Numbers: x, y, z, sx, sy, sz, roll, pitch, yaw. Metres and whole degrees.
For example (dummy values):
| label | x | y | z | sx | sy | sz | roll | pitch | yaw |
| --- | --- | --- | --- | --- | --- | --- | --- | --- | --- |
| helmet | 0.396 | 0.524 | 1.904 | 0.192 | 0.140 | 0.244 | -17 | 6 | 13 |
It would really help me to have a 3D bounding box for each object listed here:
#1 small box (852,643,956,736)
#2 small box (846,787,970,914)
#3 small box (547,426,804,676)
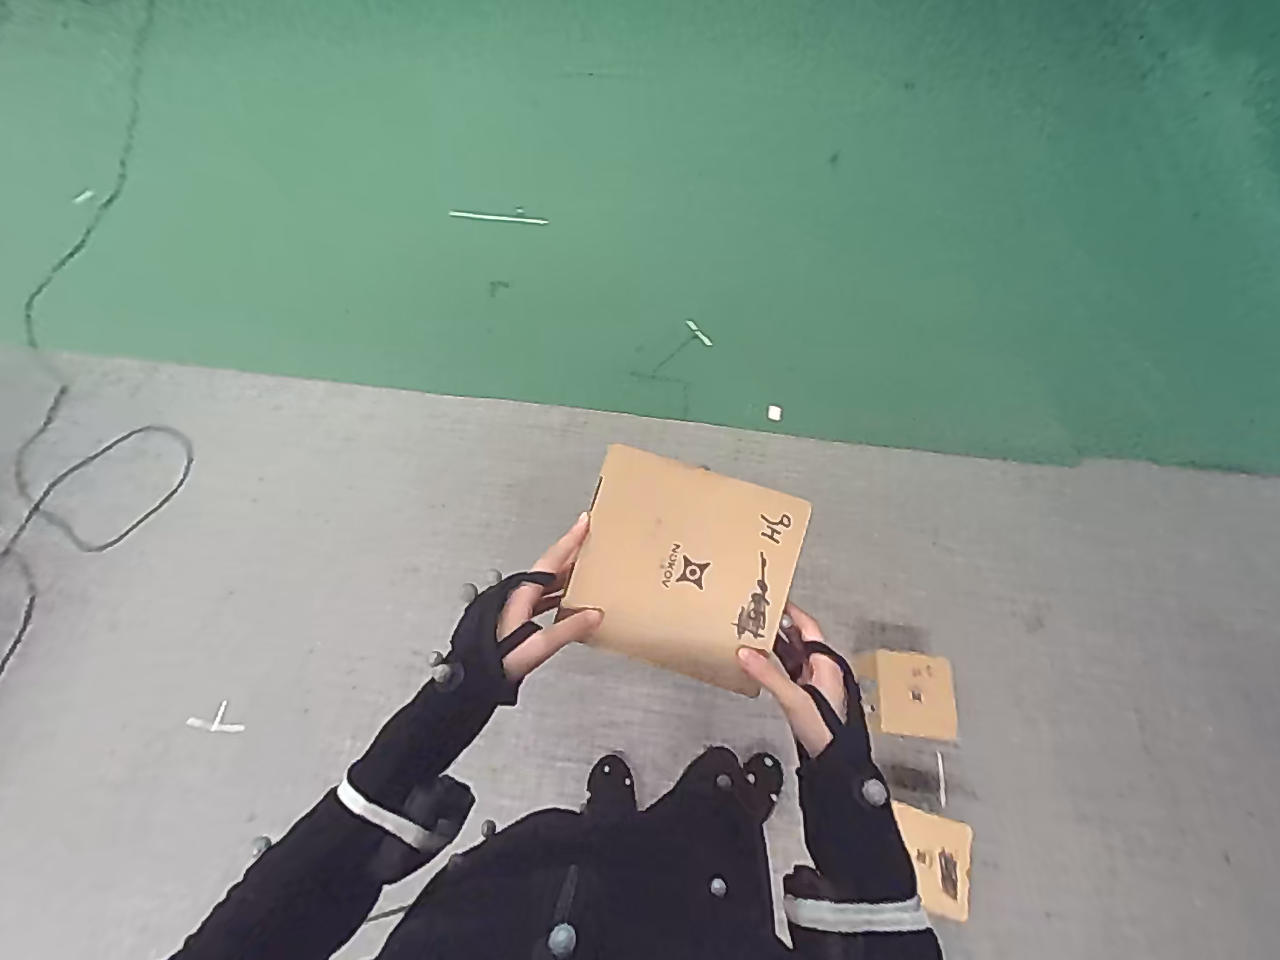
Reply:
| label | x | y | z | sx | sy | sz | roll | pitch | yaw |
| --- | --- | --- | --- | --- | --- | --- | --- | --- | --- |
| small box | 0.608 | 0.494 | 1.268 | 0.168 | 0.176 | 0.179 | 7 | 65 | 3 |
| small box | 0.561 | 0.770 | 1.146 | 0.179 | 0.176 | 0.168 | 15 | 66 | 8 |
| small box | 0.032 | 0.063 | 0.522 | 0.179 | 0.176 | 0.168 | 17 | 87 | 3 |
